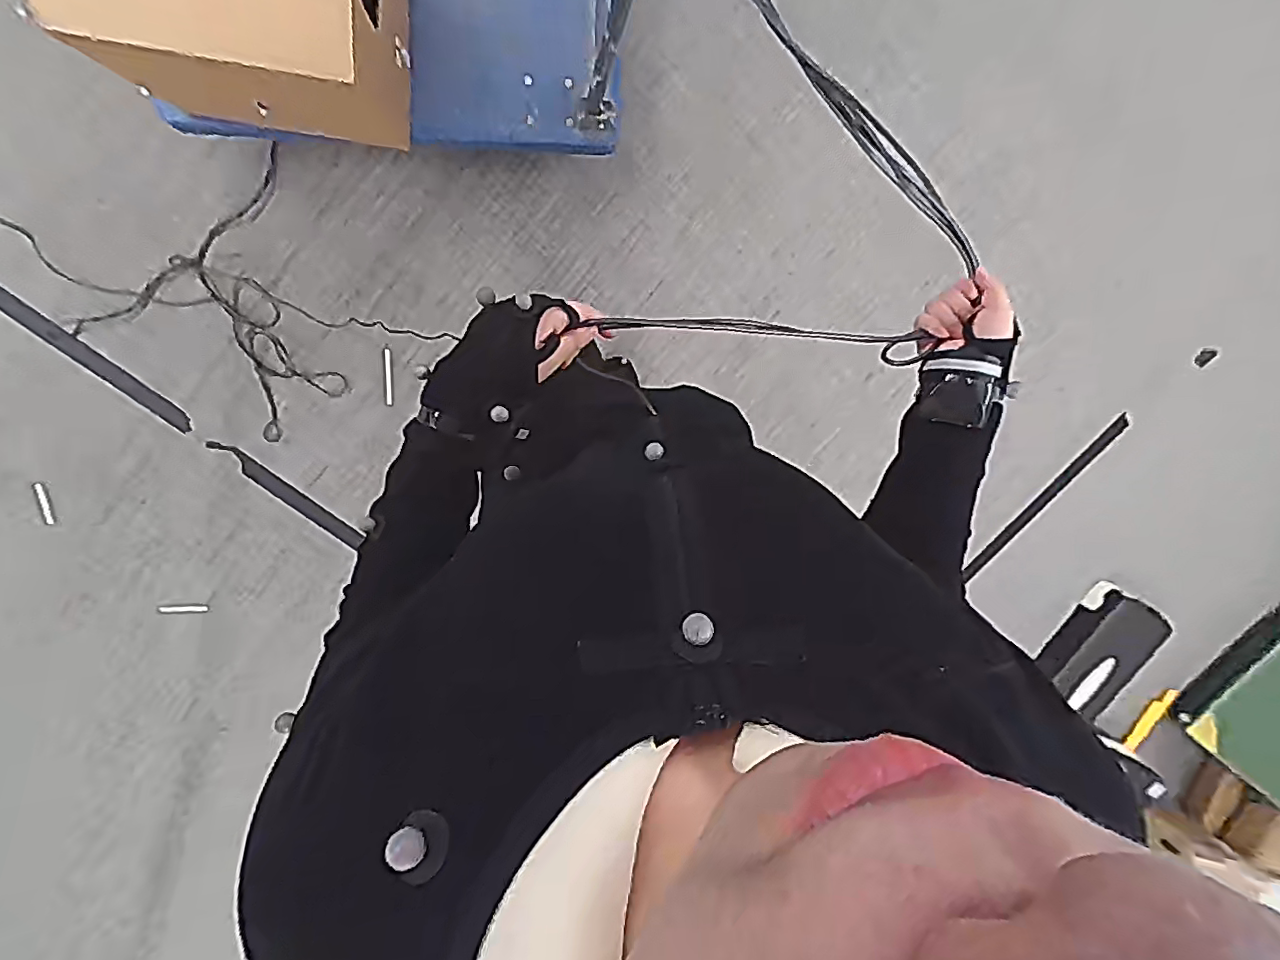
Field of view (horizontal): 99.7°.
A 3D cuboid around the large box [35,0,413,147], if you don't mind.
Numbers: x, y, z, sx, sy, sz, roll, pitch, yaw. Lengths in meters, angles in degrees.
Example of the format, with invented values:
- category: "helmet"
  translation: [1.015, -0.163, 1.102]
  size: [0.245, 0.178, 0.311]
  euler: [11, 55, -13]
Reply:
- category: "large box"
  translation: [-0.610, -0.767, 0.857]
  size: [0.408, 0.320, 0.320]
  euler: [3, 104, -9]
